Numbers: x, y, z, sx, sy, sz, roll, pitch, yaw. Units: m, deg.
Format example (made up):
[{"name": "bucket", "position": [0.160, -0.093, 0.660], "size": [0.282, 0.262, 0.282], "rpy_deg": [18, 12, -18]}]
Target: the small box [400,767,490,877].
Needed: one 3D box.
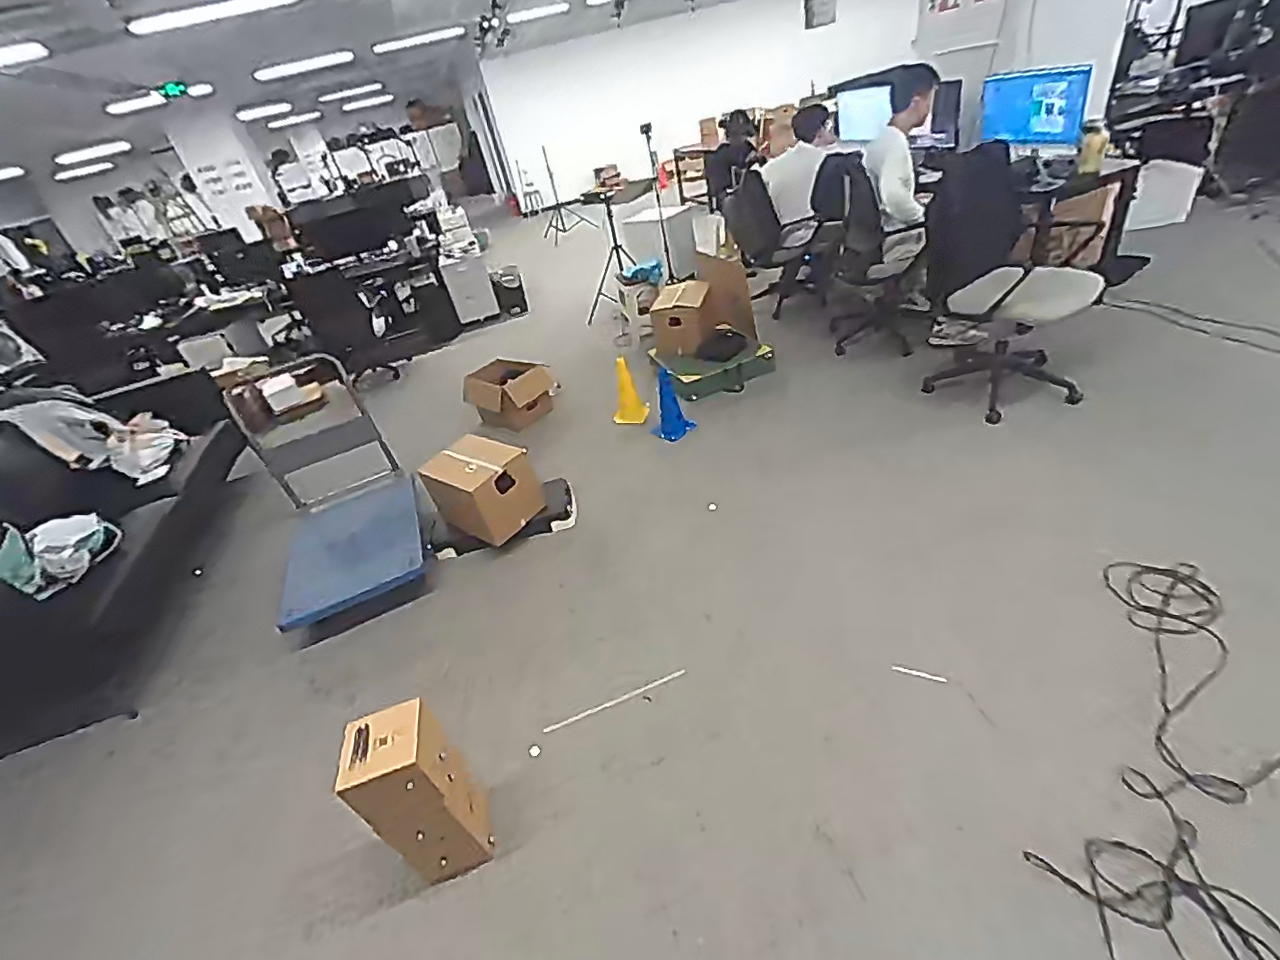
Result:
[{"name": "small box", "position": [-0.507, 0.905, 1.432], "size": [0.179, 0.176, 0.168], "rpy_deg": [-20, 36, -6]}]

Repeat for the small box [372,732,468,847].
[{"name": "small box", "position": [-0.535, 0.772, 1.339], "size": [0.168, 0.176, 0.179], "rpy_deg": [-18, 35, -7]}]
